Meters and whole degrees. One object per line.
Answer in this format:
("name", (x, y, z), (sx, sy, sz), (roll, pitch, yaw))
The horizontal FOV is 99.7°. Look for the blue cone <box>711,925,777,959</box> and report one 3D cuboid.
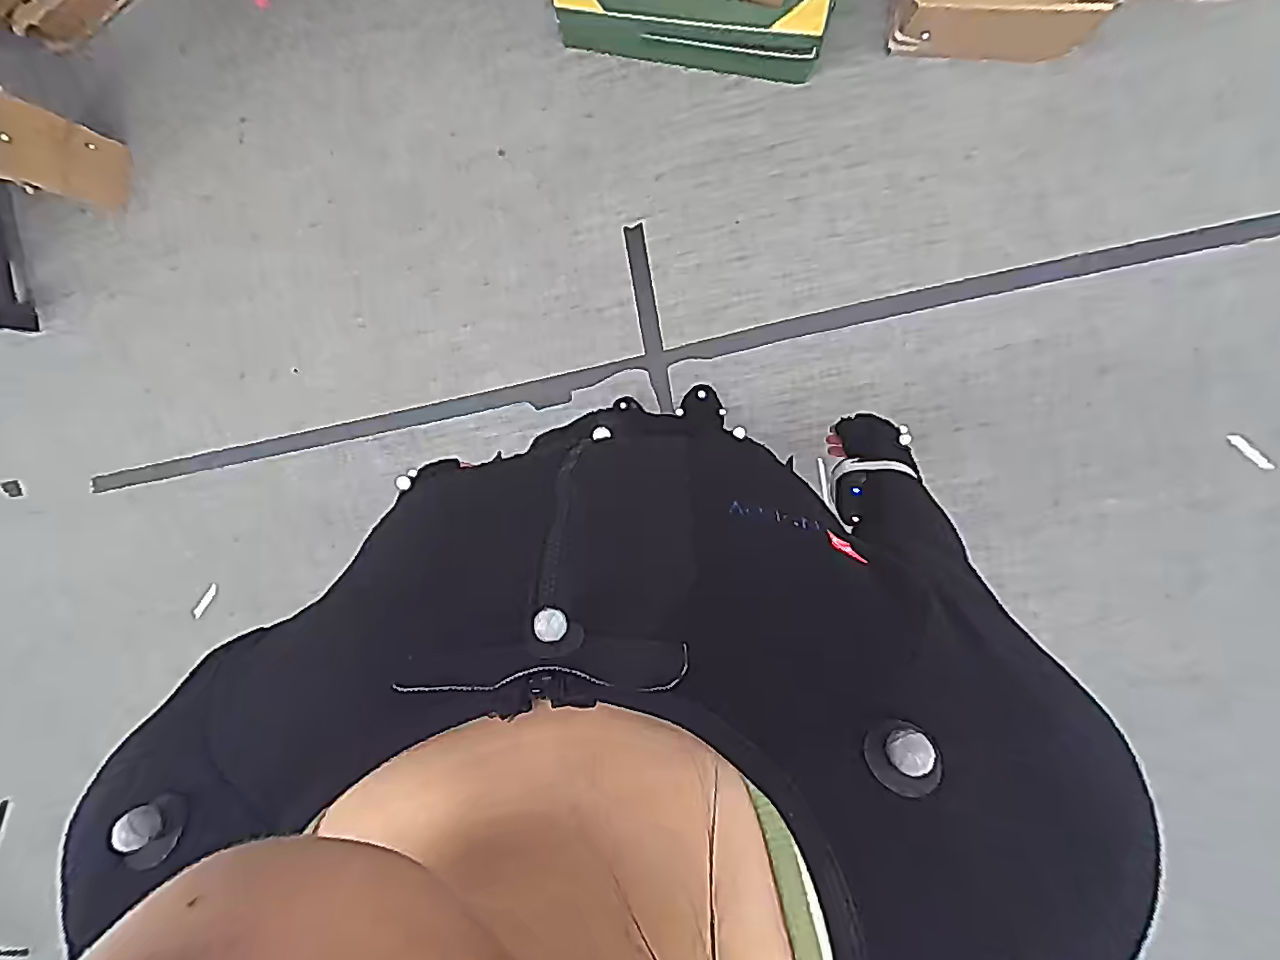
("blue cone", (0.308, 1.492, 1.513), (0.193, 0.380, 0.192), (-7, 100, 7))
